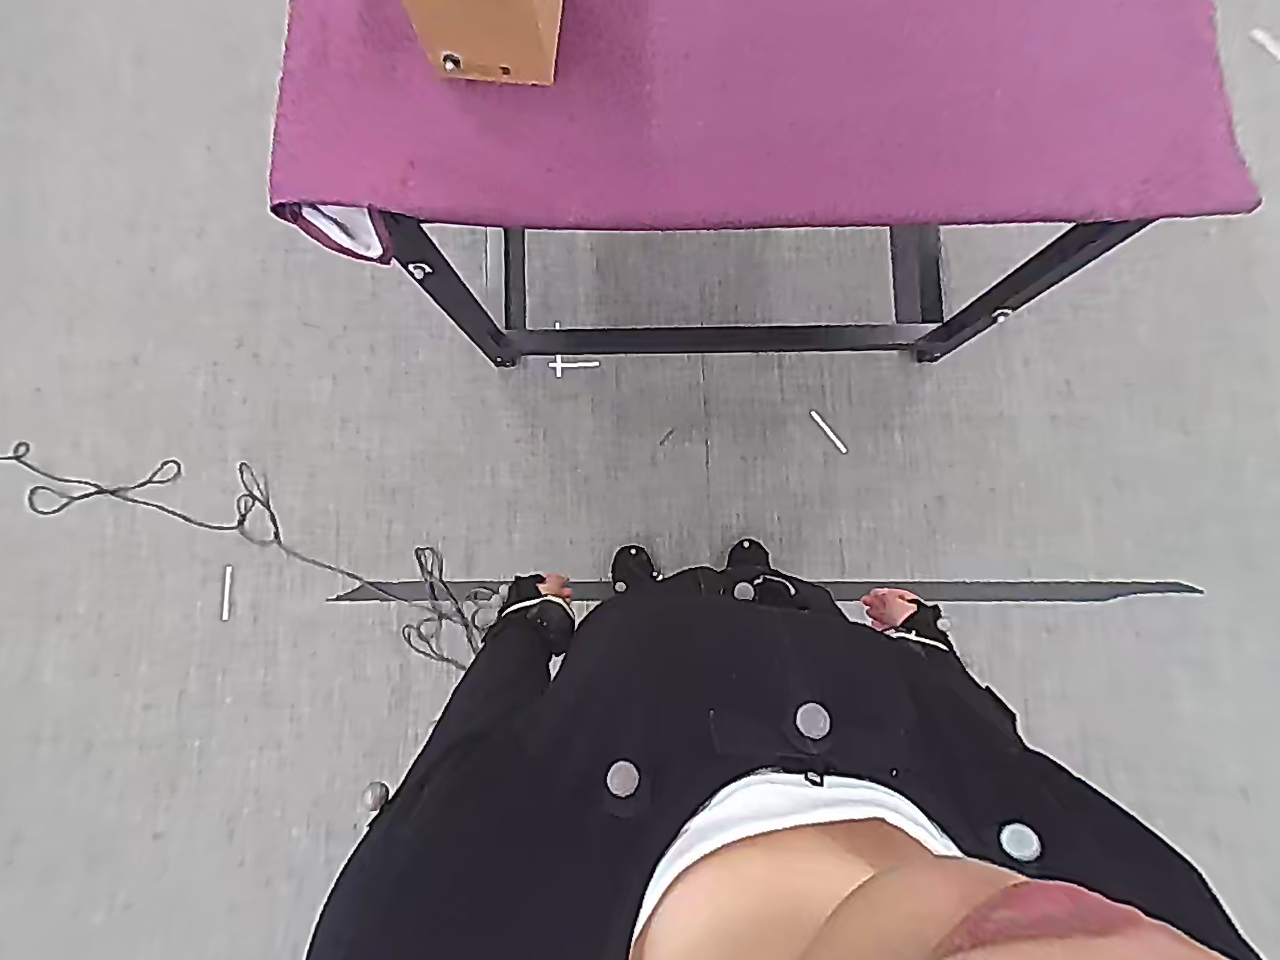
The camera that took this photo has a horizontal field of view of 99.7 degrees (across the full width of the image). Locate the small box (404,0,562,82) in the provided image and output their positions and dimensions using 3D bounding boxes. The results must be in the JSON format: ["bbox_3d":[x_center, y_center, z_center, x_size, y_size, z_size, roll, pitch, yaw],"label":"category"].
[{"bbox_3d":[-0.195,-0.645,0.678,0.168,0.176,0.179,5,84,1],"label":"small box"}]
